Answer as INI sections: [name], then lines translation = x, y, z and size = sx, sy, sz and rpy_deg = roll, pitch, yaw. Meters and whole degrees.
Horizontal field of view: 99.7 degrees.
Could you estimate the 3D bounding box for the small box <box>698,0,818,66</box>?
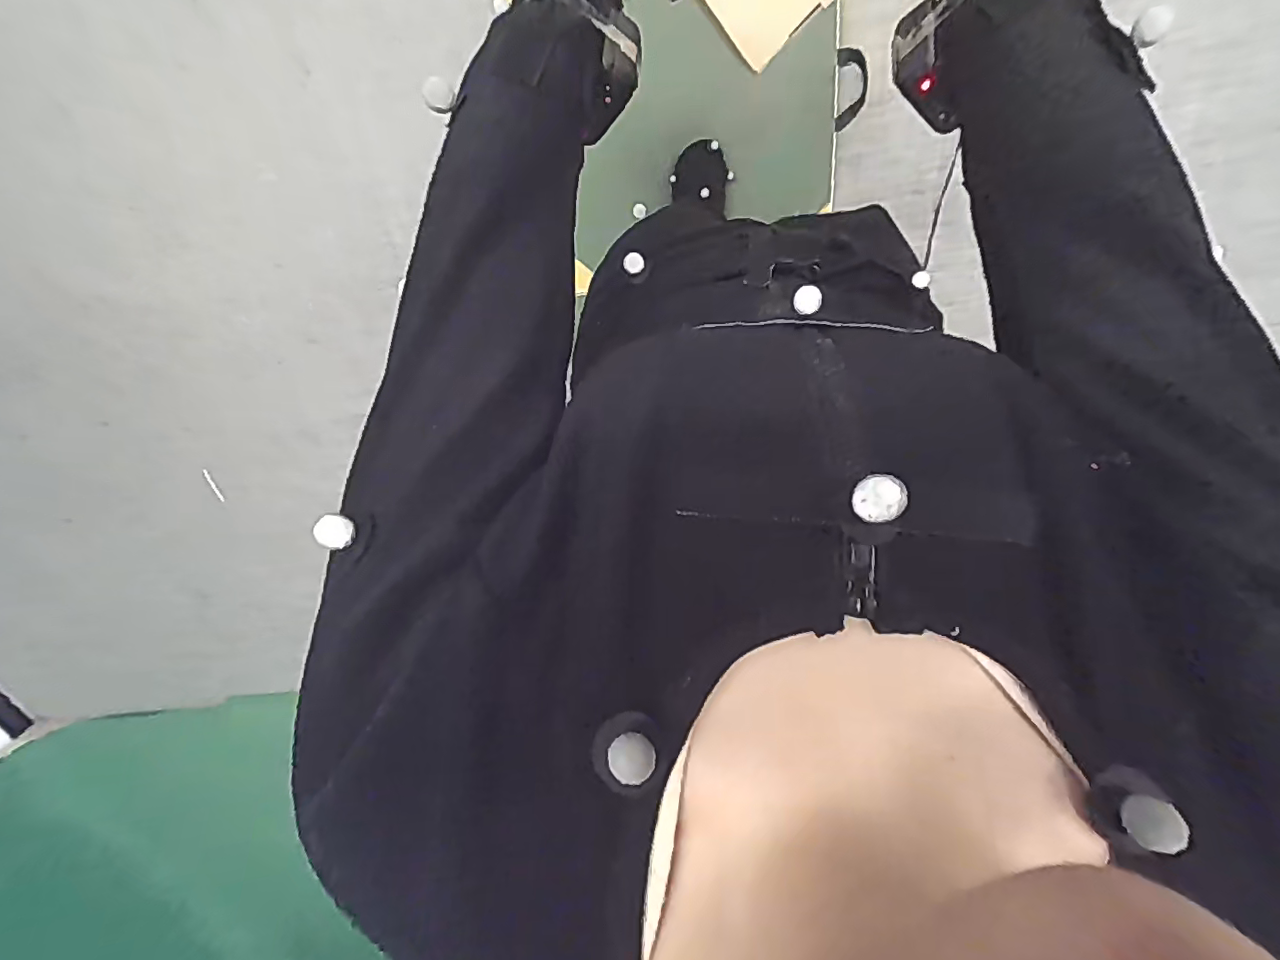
[small box]
translation = 0.090, -0.467, 0.407
size = 0.179, 0.176, 0.168
rpy_deg = 38, 123, -26
